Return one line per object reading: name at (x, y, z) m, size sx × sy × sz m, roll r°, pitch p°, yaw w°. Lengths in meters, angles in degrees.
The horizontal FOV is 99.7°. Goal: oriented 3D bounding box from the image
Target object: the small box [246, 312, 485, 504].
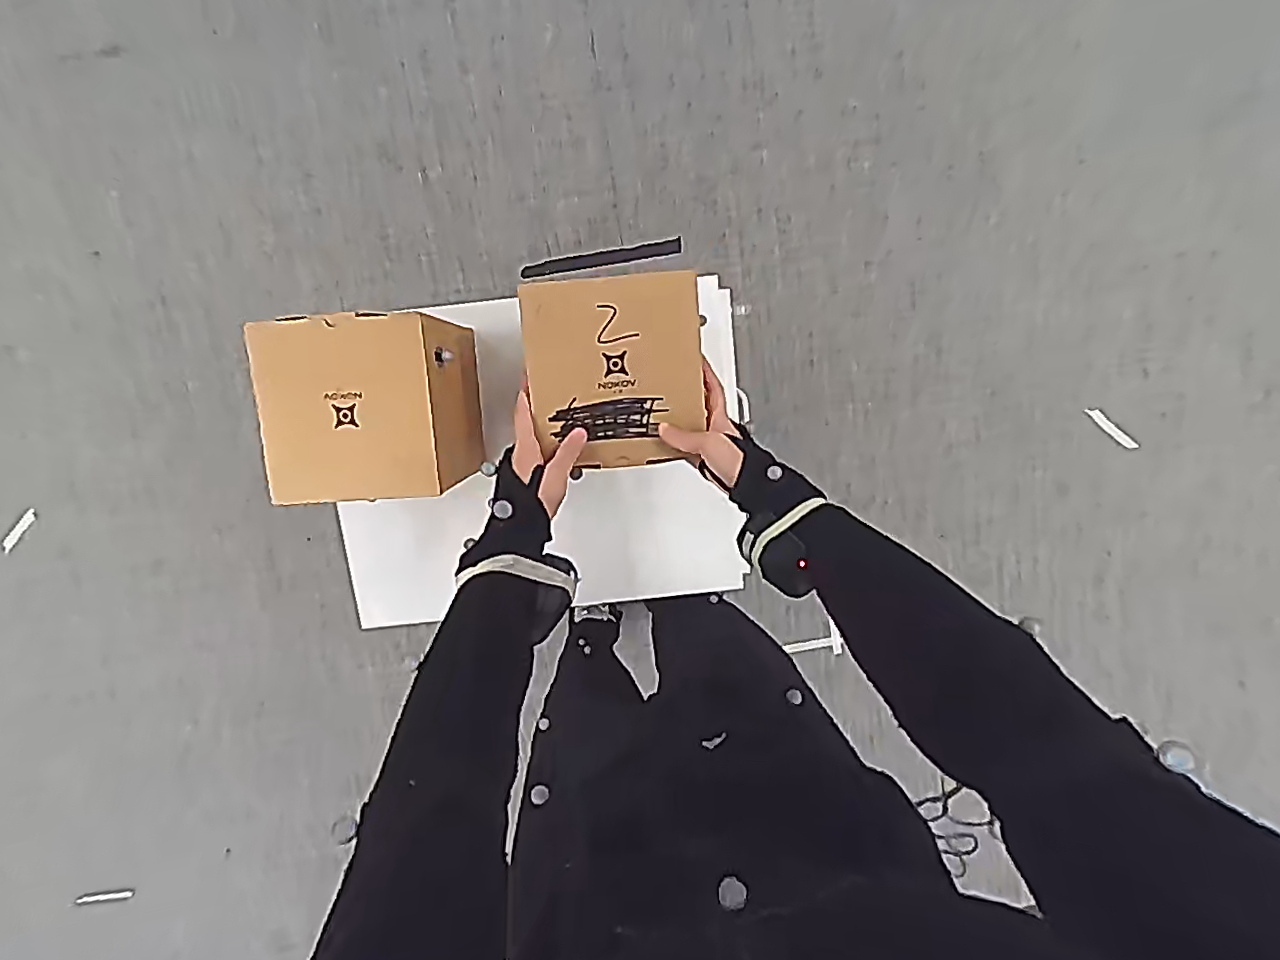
small box at (-0.275, -0.078, 0.585) m, size 0.168 × 0.176 × 0.179 m, roll -3°, pitch 99°, yaw 0°
